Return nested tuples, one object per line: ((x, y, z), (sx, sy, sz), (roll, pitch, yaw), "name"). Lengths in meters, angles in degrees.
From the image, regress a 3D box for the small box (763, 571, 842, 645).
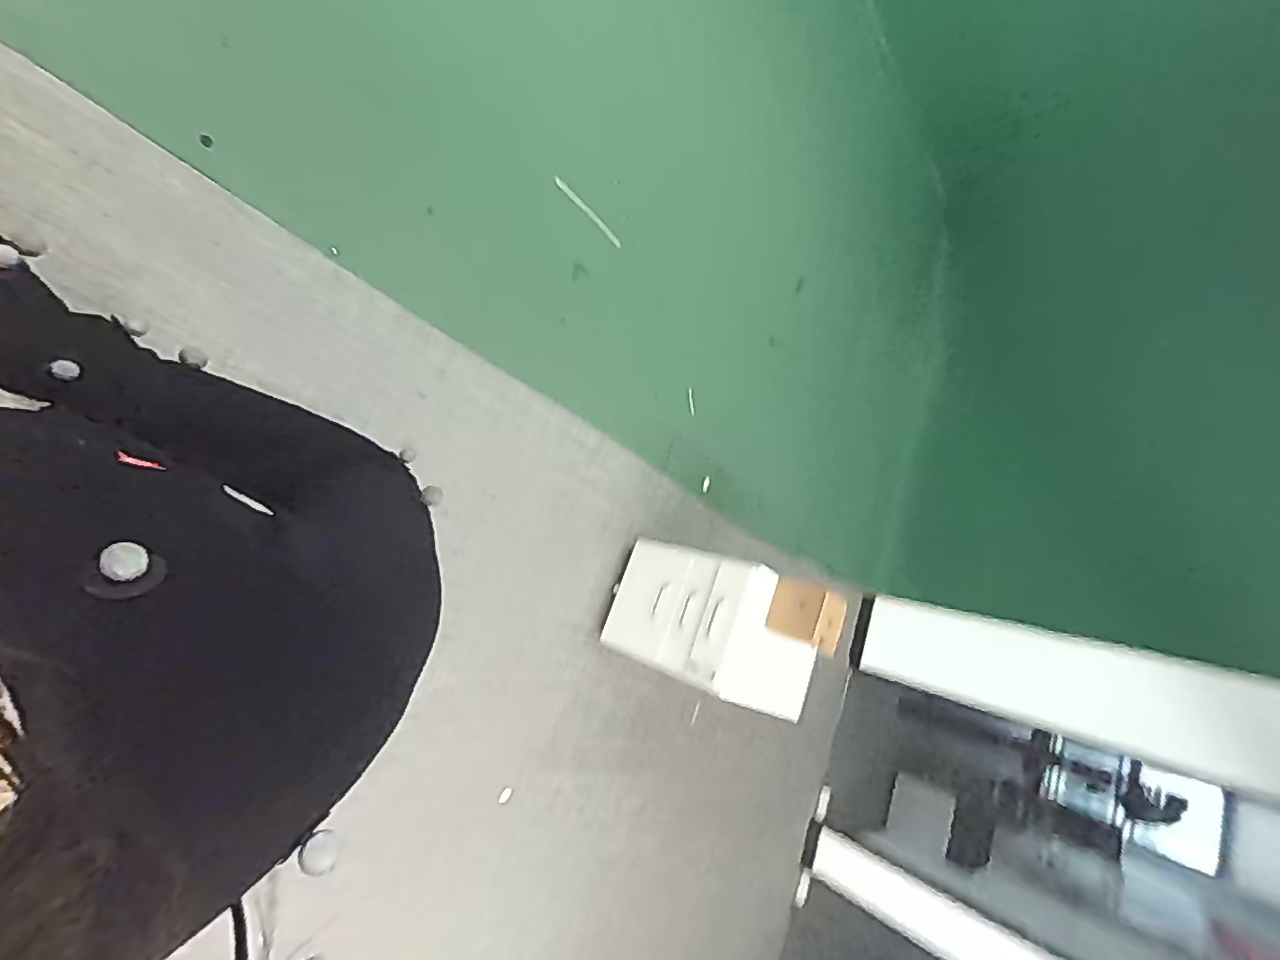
((0.514, 0.403, 1.715), (0.168, 0.176, 0.179), (32, 72, -41), "small box")
